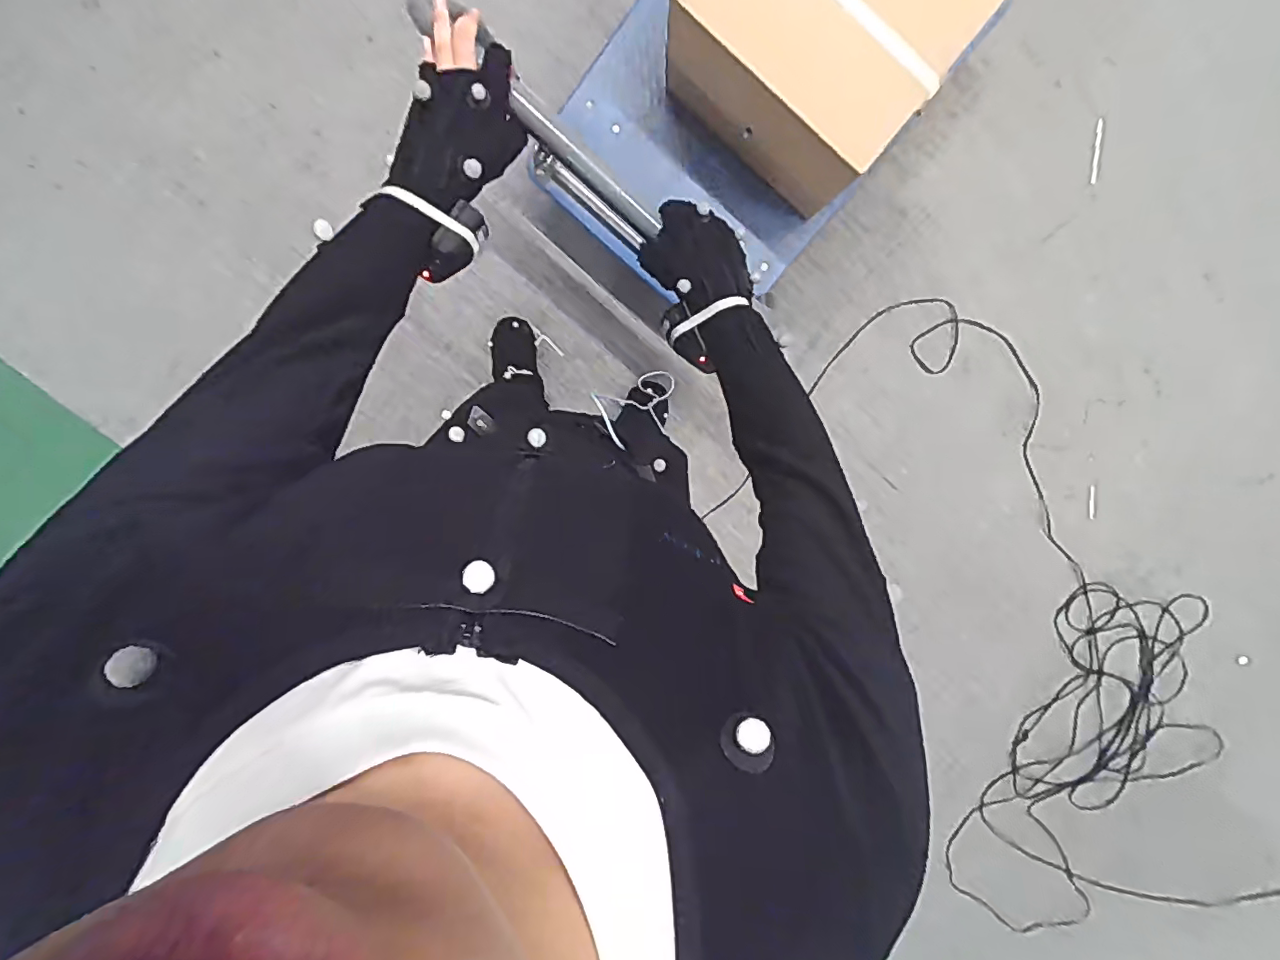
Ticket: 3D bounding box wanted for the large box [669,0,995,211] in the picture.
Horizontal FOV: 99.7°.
[{"bbox_3d":[0.300,-0.768,0.966,0.408,0.320,0.320,39,101,-7],"label":"large box"}]
